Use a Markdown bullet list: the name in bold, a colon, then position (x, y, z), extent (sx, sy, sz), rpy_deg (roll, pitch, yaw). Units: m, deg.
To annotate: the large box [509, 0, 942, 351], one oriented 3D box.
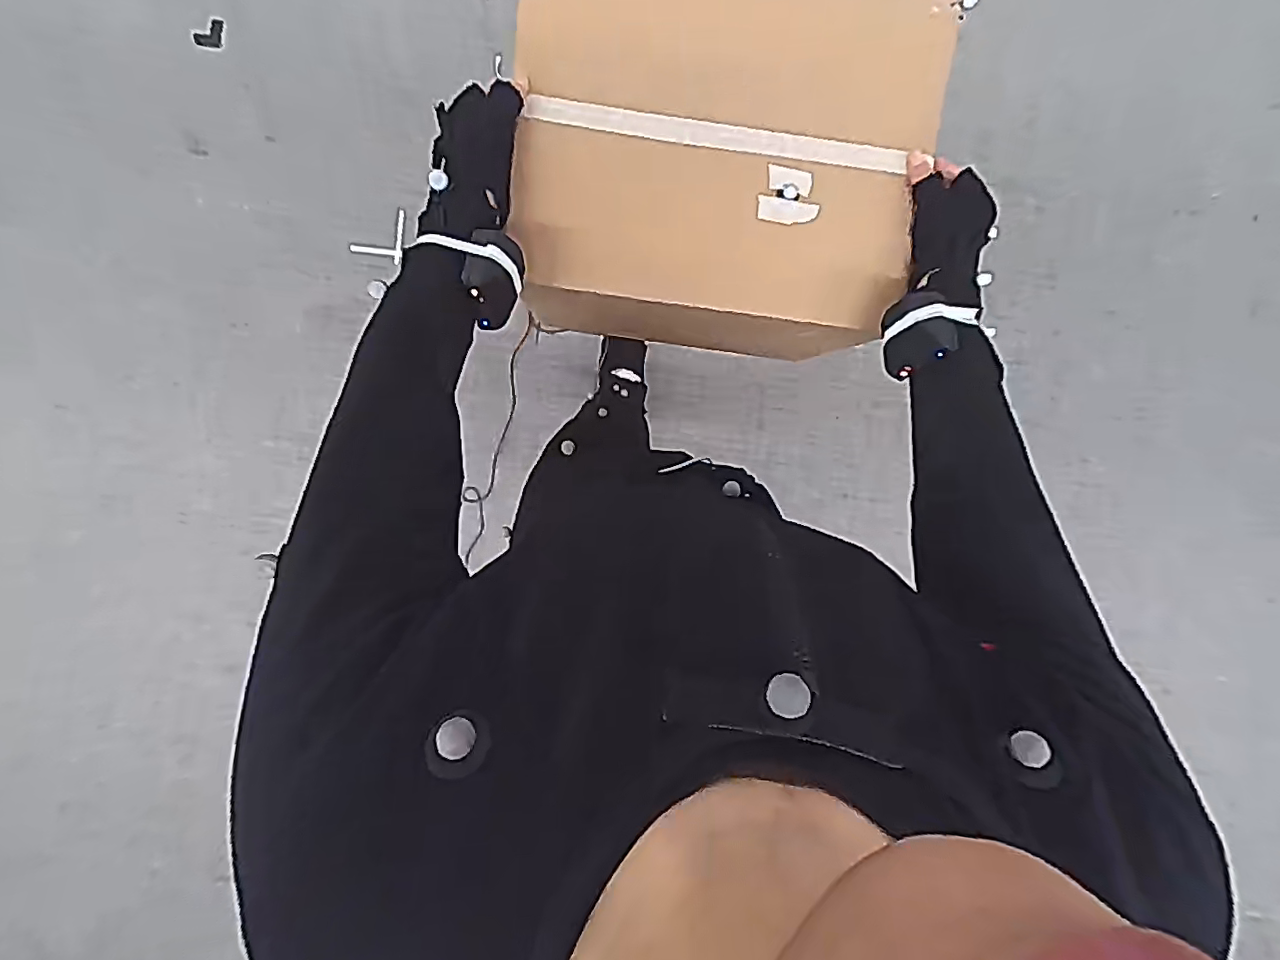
- **large box**: position (0.072, -0.352, 0.675), extent (0.408, 0.320, 0.320), rpy_deg (7, 98, -4)
